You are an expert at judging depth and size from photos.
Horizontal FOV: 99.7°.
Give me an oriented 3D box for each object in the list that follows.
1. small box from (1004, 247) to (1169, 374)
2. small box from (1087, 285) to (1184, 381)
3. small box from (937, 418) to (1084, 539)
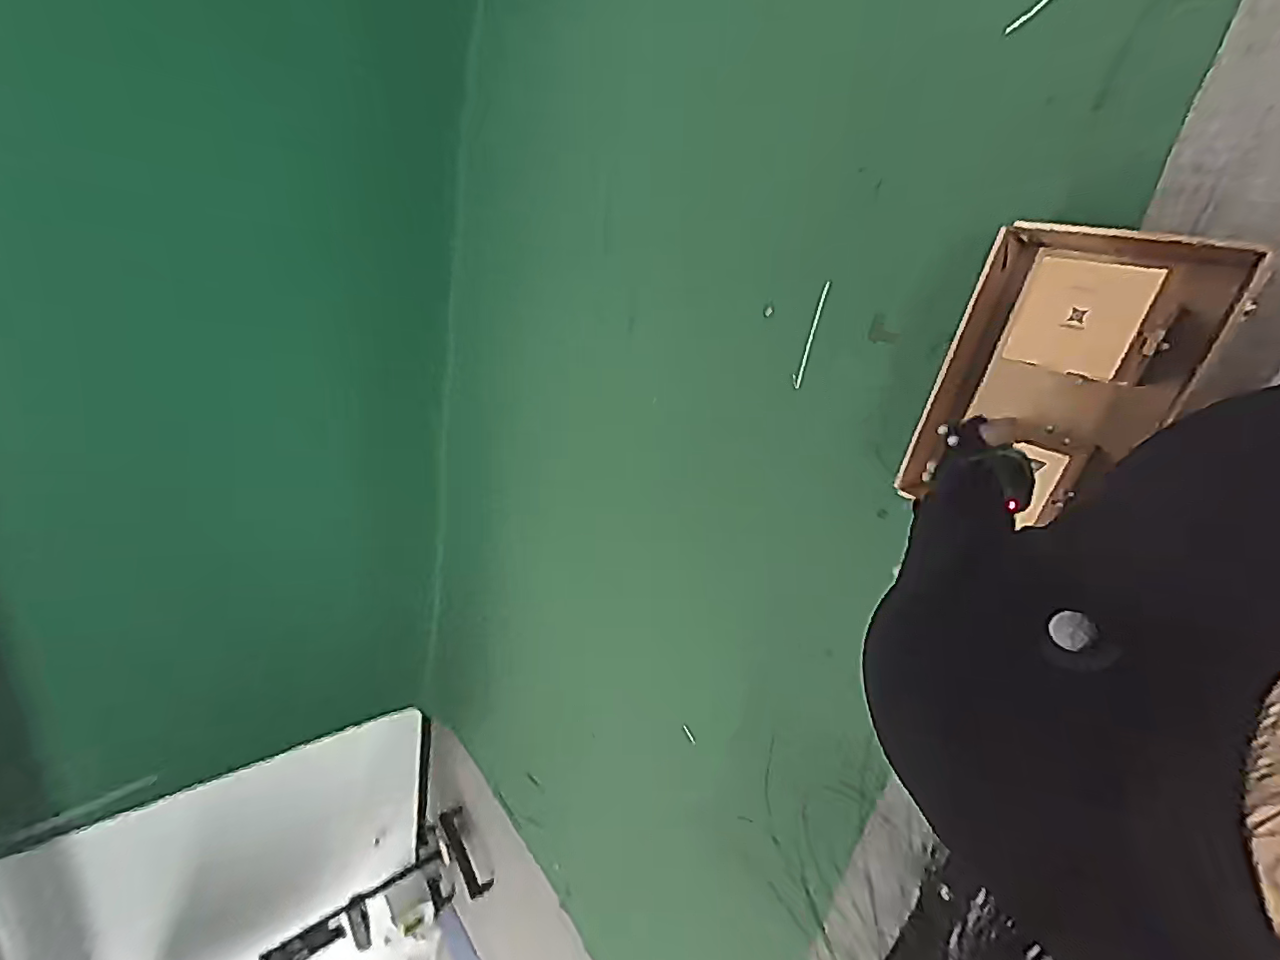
[{"bbox_3d":[0.772,-0.287,0.934,0.168,0.176,0.179,29,116,38],"label":"small box"},{"bbox_3d":[0.894,-0.298,1.042,0.179,0.176,0.168,33,119,38],"label":"small box"},{"bbox_3d":[0.711,-0.014,1.036,0.168,0.176,0.179,32,119,39],"label":"small box"}]
